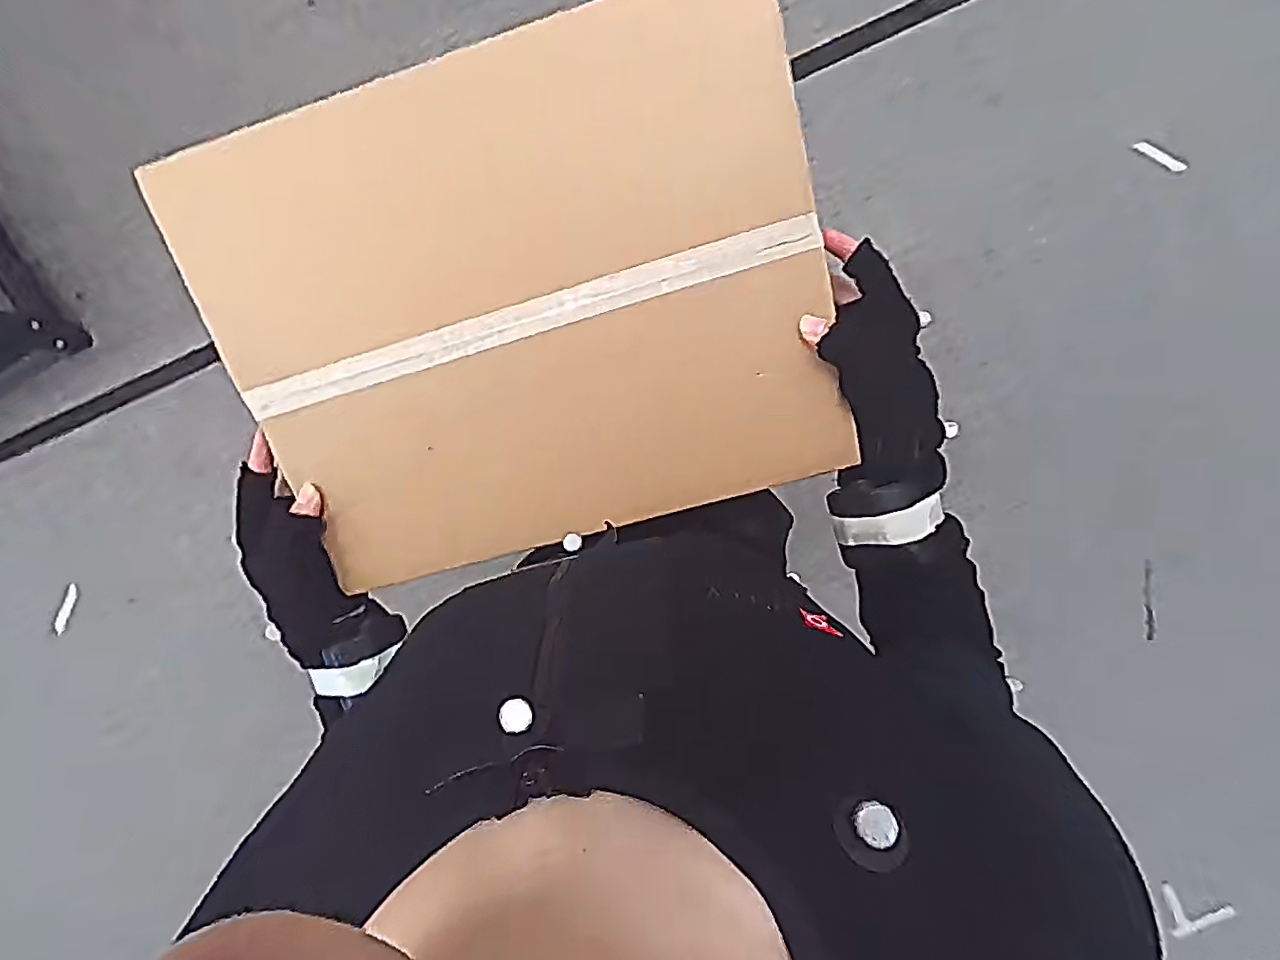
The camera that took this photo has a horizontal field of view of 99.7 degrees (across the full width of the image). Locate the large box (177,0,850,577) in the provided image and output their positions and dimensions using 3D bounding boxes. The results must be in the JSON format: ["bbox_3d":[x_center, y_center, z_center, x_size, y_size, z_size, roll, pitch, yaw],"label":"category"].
[{"bbox_3d":[-0.075,-0.154,0.516,0.408,0.320,0.320,-15,106,6],"label":"large box"}]
